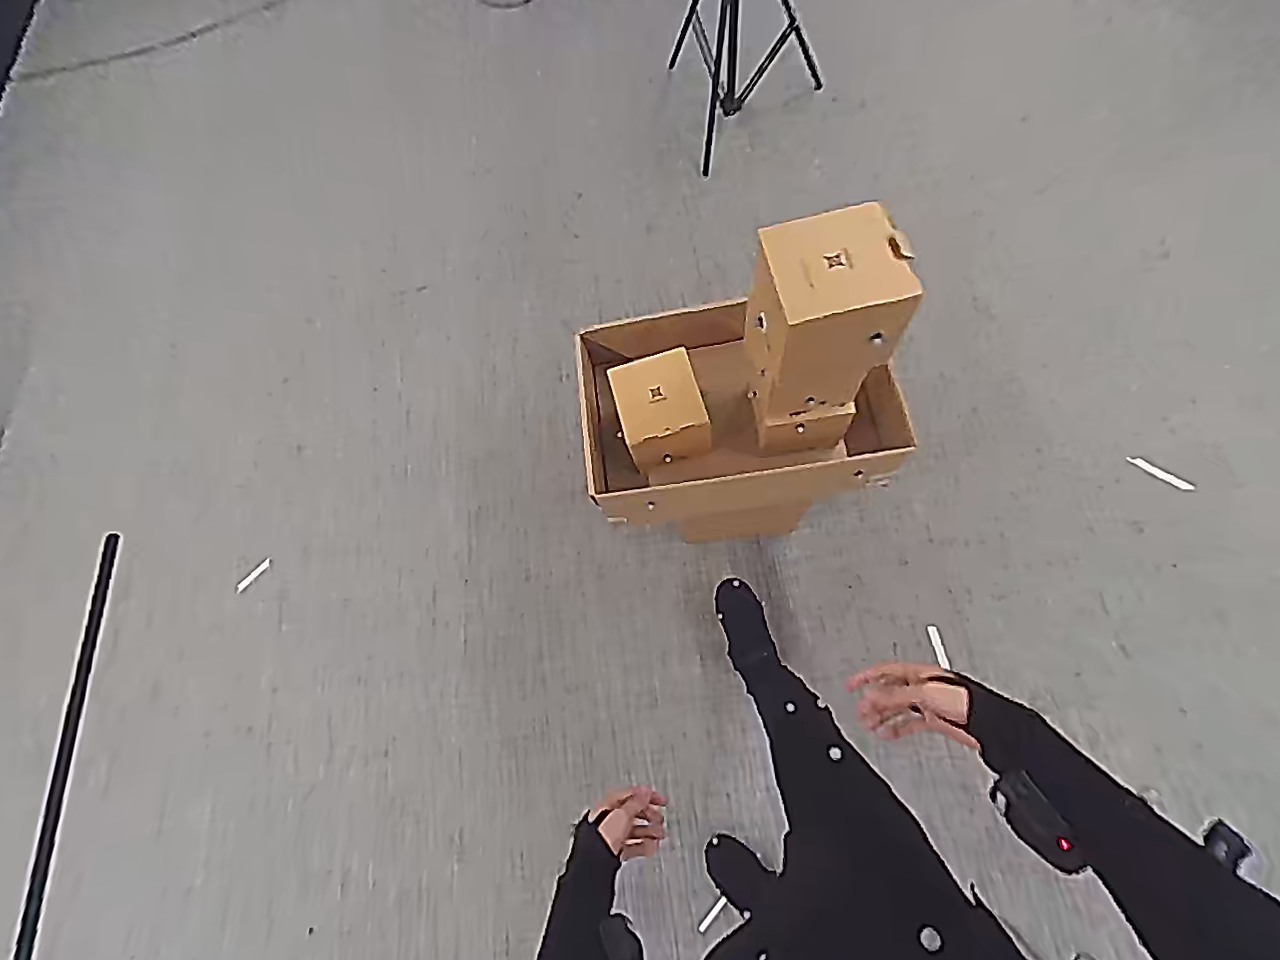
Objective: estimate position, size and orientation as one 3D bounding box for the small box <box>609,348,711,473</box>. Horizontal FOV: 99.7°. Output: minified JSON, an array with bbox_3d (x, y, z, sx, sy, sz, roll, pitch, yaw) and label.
[{"bbox_3d":[0.045,-0.138,1.125,0.168,0.176,0.179,-17,69,2],"label":"small box"}]

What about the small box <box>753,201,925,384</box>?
[{"bbox_3d":[0.271,-0.262,0.785,0.179,0.176,0.168,-12,69,4],"label":"small box"}]
